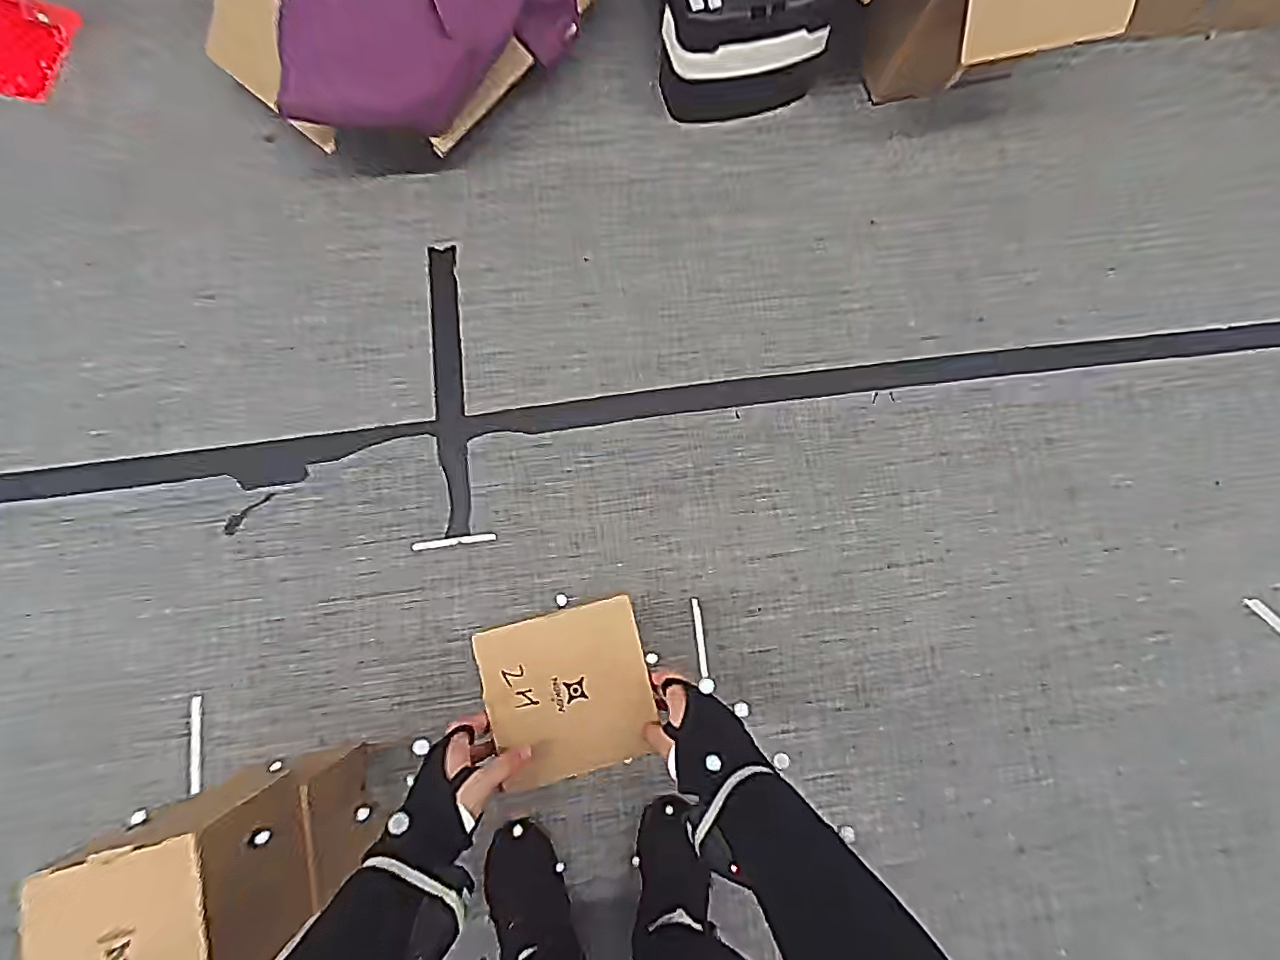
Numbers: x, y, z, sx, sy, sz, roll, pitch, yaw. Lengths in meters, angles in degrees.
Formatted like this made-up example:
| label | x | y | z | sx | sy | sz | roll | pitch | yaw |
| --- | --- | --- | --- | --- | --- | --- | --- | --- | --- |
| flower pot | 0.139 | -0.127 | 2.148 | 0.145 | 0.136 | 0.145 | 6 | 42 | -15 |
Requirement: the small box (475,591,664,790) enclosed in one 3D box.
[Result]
| label | x | y | z | sx | sy | sz | roll | pitch | yaw |
| --- | --- | --- | --- | --- | --- | --- | --- | --- | --- |
| small box | -0.081 | 0.236 | 0.656 | 0.179 | 0.176 | 0.168 | -14 | 82 | -4 |

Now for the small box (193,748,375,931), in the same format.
| label | x | y | z | sx | sy | sz | roll | pitch | yaw |
| --- | --- | --- | --- | --- | --- | --- | --- | --- | --- |
| small box | -0.496 | 0.494 | 0.744 | 0.179 | 0.176 | 0.168 | -10 | 82 | -5 |

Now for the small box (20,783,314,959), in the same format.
| label | x | y | z | sx | sy | sz | roll | pitch | yaw |
| --- | --- | --- | --- | --- | --- | --- | --- | --- | --- |
| small box | -0.490 | 0.457 | 0.585 | 0.168 | 0.176 | 0.179 | -14 | 83 | -3 |
